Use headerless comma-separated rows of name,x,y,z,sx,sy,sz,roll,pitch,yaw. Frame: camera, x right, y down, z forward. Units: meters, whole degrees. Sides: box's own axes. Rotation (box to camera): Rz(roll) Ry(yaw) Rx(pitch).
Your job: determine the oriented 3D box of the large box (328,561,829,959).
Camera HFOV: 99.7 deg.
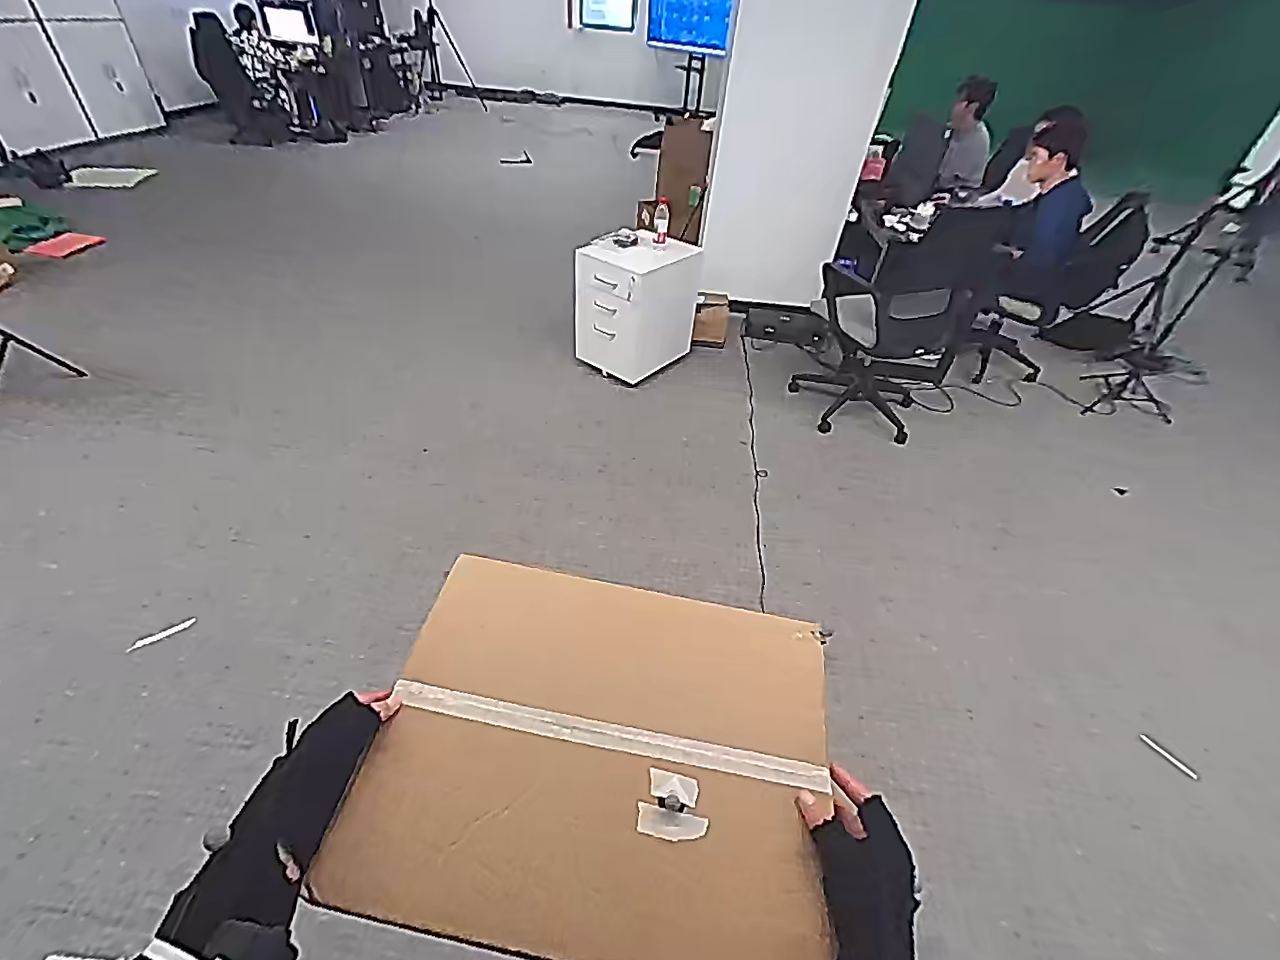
large box,-0.042,0.334,0.622,0.408,0.320,0.320,11,49,3
